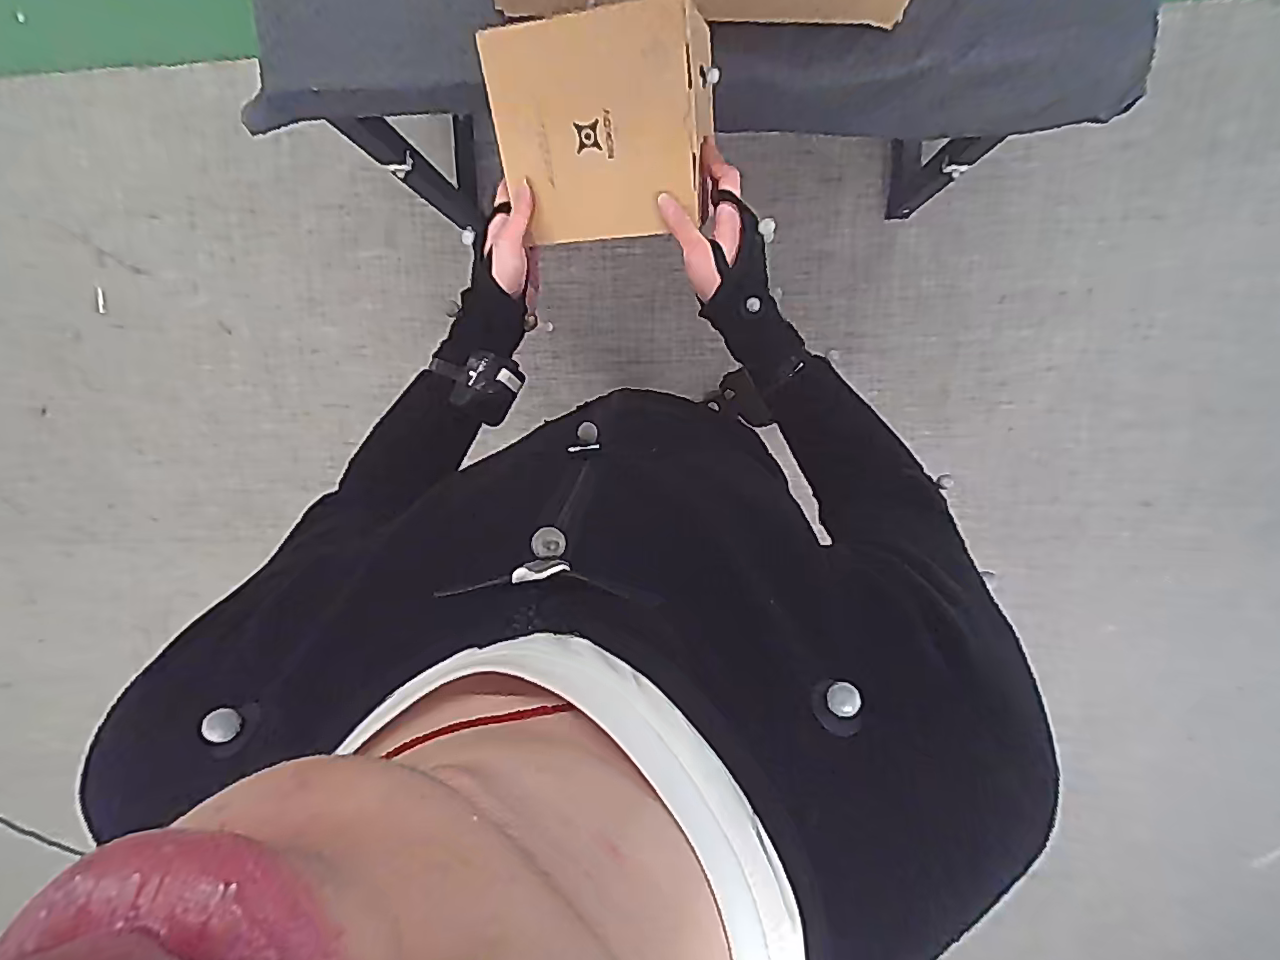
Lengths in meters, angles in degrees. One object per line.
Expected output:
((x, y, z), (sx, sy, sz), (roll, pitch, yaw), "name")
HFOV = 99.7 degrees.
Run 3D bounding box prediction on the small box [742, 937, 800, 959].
((0.435, 1.592, 1.687), (0.179, 0.176, 0.168), (-34, 97, 6), "small box")
